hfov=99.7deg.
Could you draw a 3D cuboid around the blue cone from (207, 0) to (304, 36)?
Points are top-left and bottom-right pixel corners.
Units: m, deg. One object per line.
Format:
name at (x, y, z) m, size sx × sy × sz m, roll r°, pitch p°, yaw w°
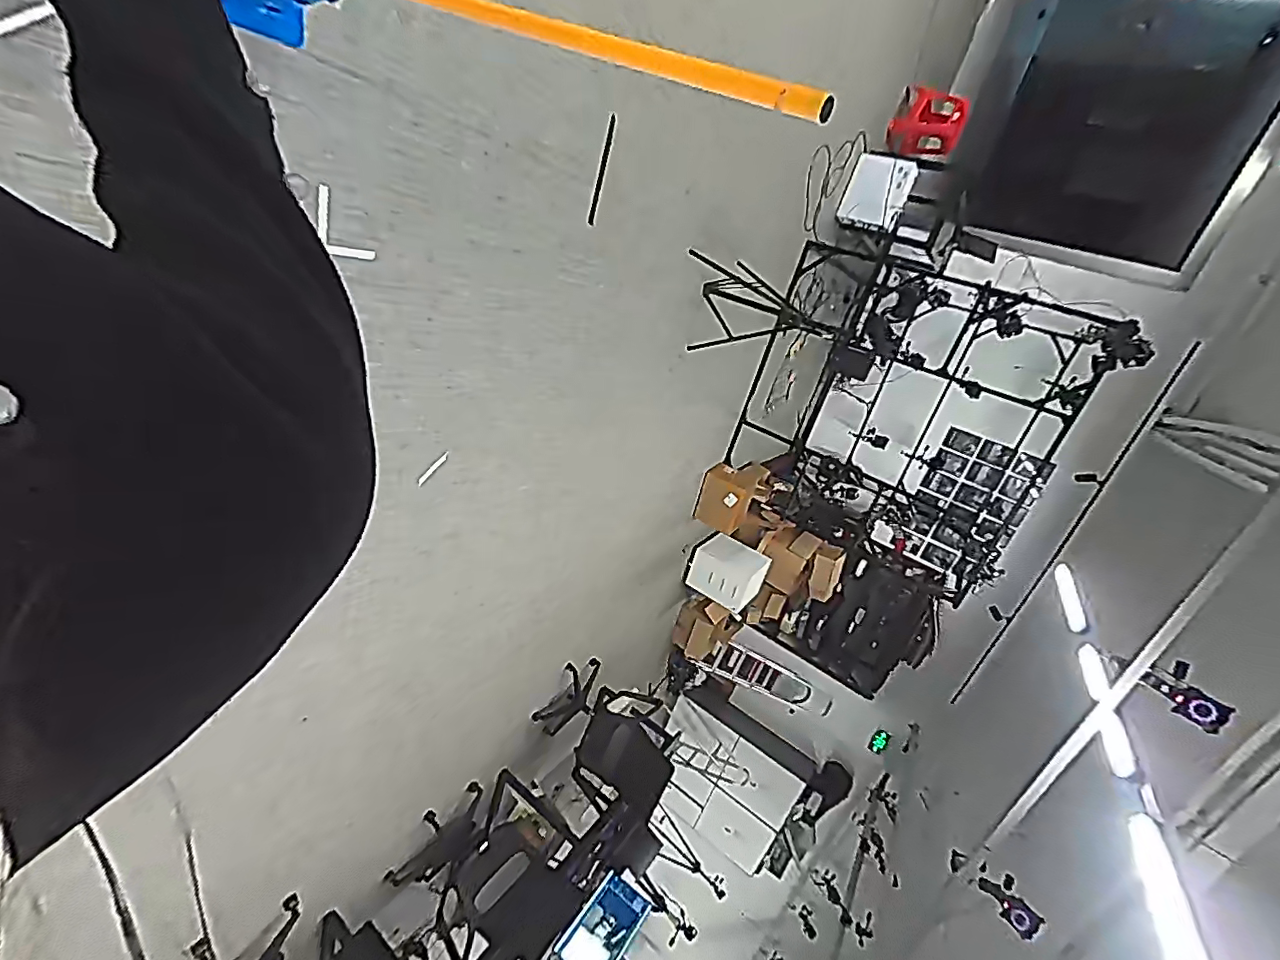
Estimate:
blue cone at (-0.597, -0.900, 0.942) m, size 0.193 × 0.380 × 0.192 m, roll -24°, pitch 135°, yaw -54°
